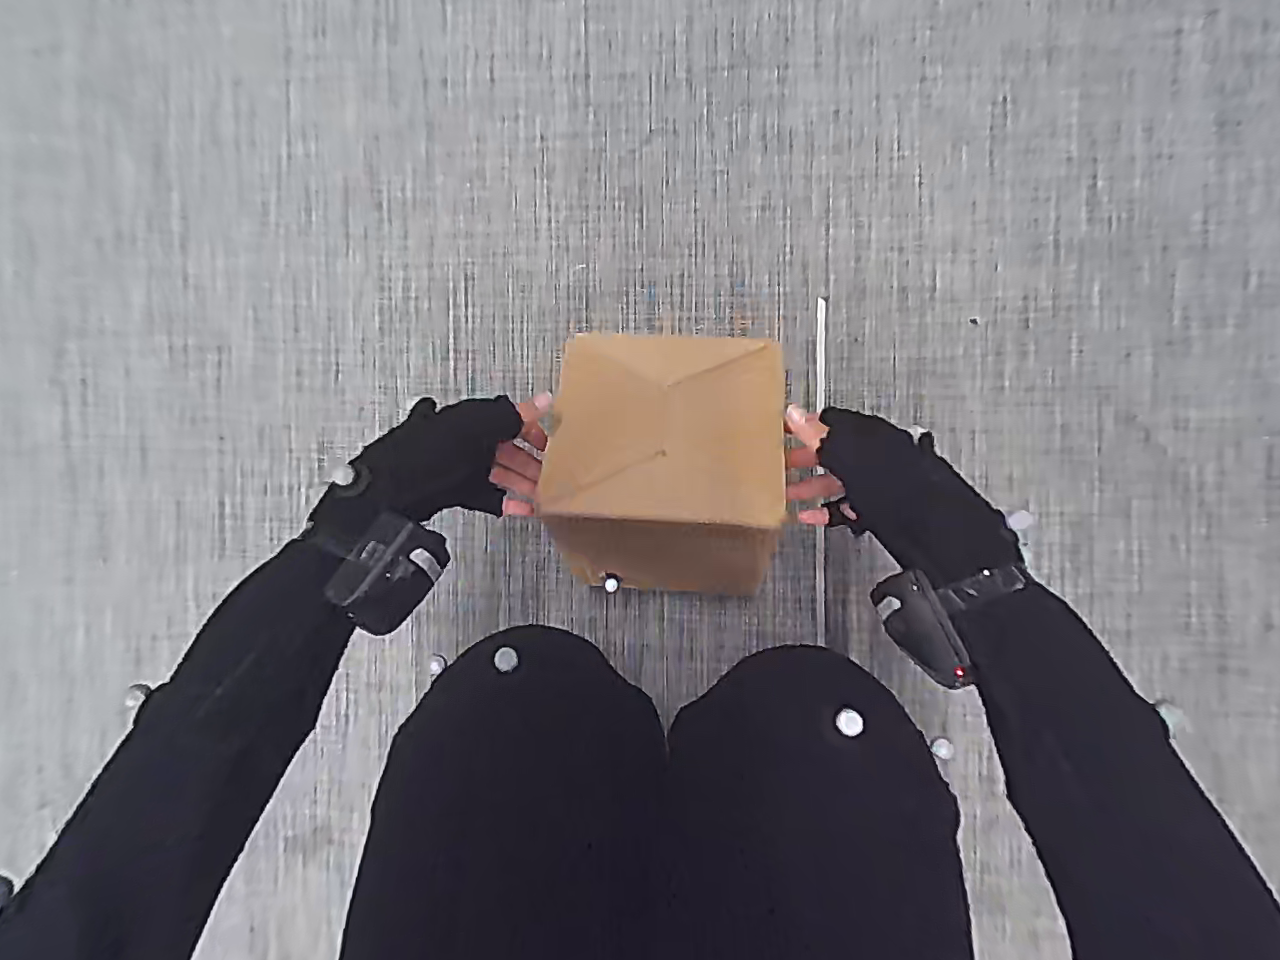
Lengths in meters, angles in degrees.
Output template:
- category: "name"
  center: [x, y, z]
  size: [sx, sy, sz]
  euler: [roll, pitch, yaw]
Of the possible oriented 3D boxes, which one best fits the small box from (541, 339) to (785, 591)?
- category: "small box"
  center: [0.027, -0.007, 0.475]
  size: [0.179, 0.176, 0.168]
  euler: [4, 64, 5]
